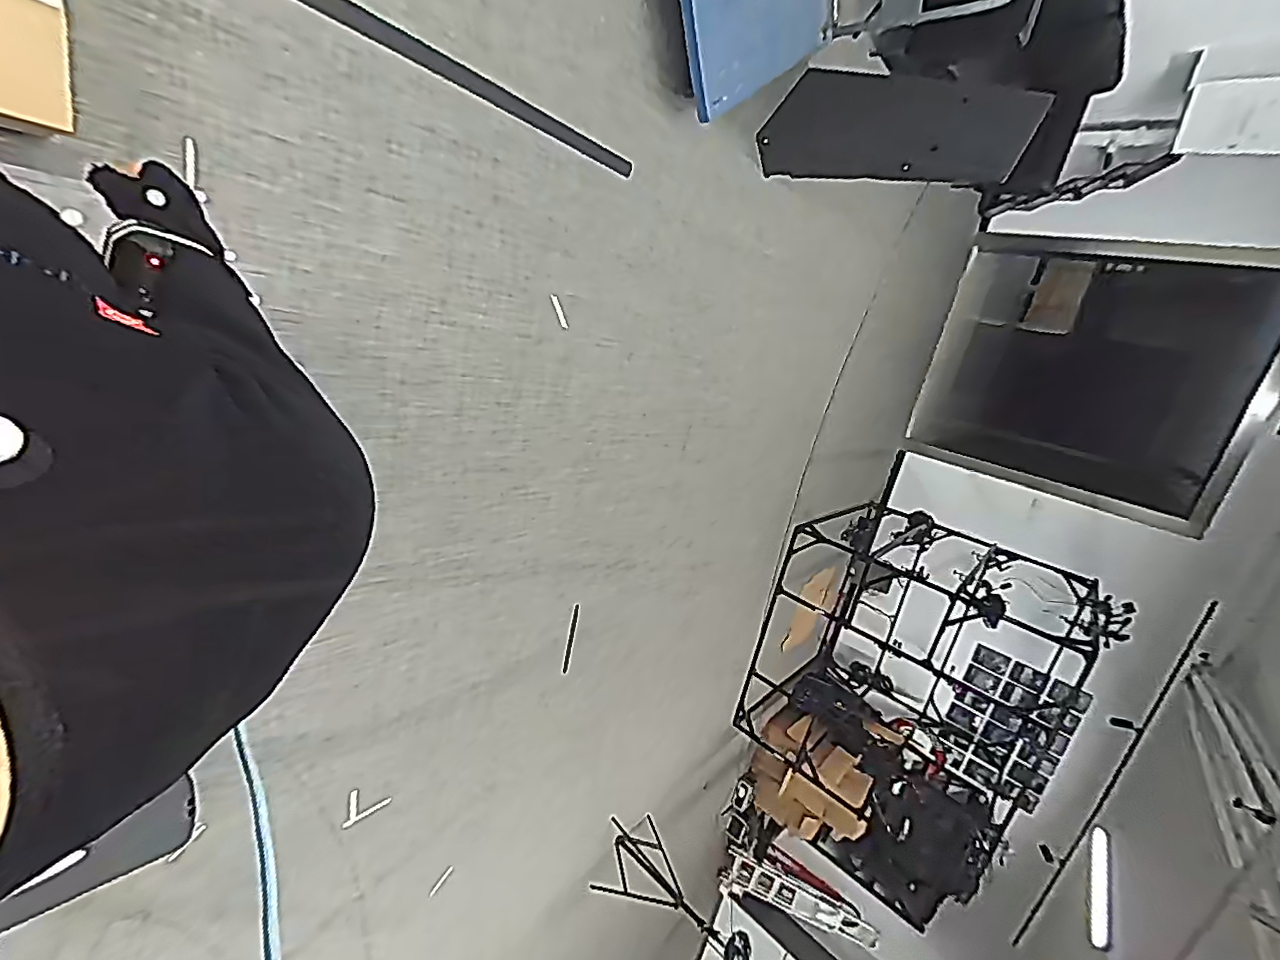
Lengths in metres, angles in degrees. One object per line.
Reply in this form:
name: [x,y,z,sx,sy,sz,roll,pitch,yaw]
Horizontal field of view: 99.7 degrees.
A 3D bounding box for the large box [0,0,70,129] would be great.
large box: [-1.012,-0.671,0.649,0.408,0.320,0.320,-9,118,-51]
